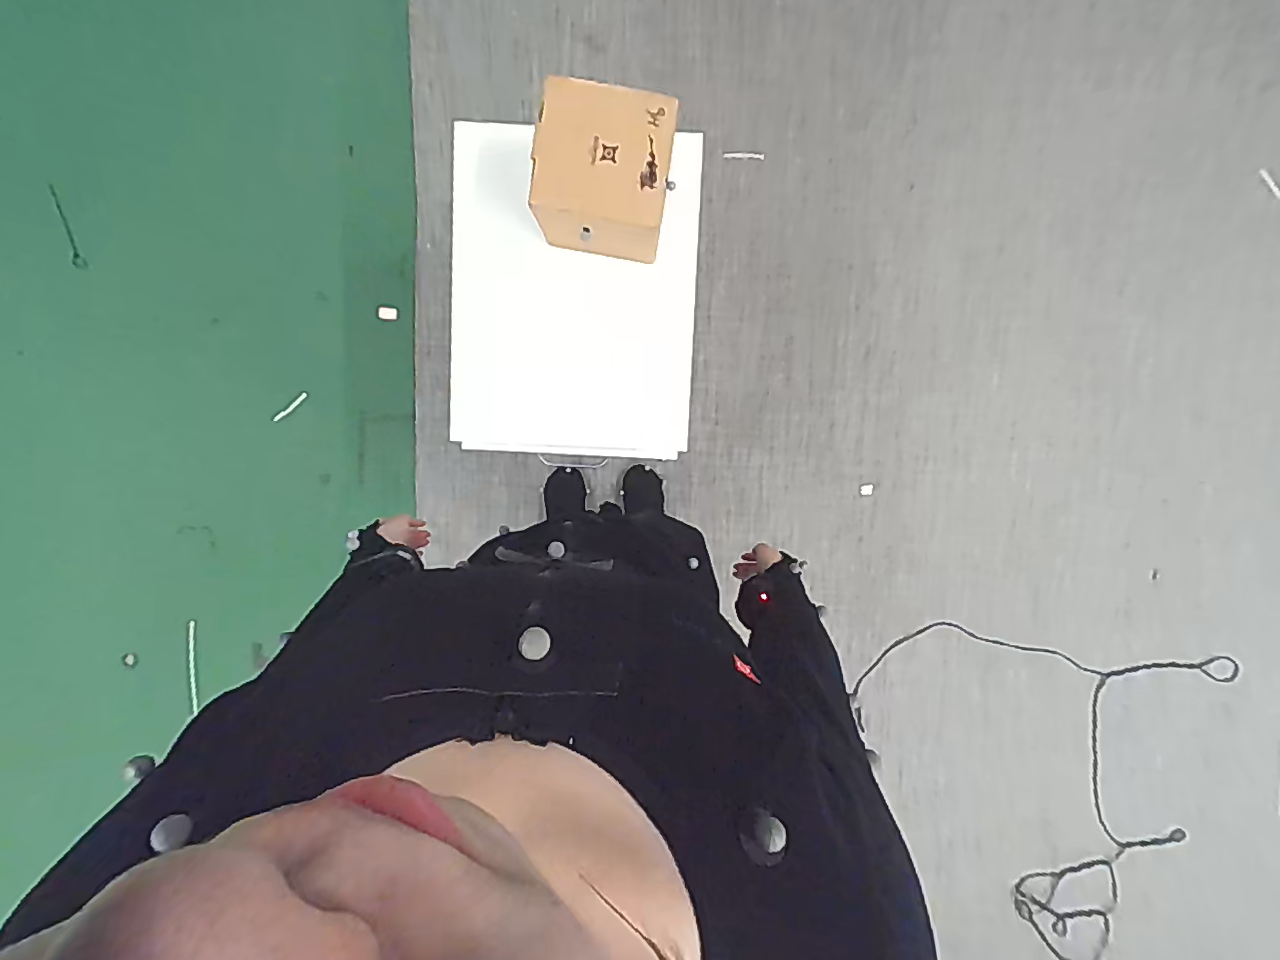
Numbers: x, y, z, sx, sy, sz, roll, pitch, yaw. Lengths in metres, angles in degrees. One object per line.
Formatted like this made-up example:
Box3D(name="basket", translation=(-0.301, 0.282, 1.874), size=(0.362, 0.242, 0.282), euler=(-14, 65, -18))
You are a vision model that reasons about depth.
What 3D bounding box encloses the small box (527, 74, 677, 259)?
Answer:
Box3D(name="small box", translation=(-0.050, -0.436, 0.782), size=(0.179, 0.176, 0.168), euler=(10, 96, -1))
